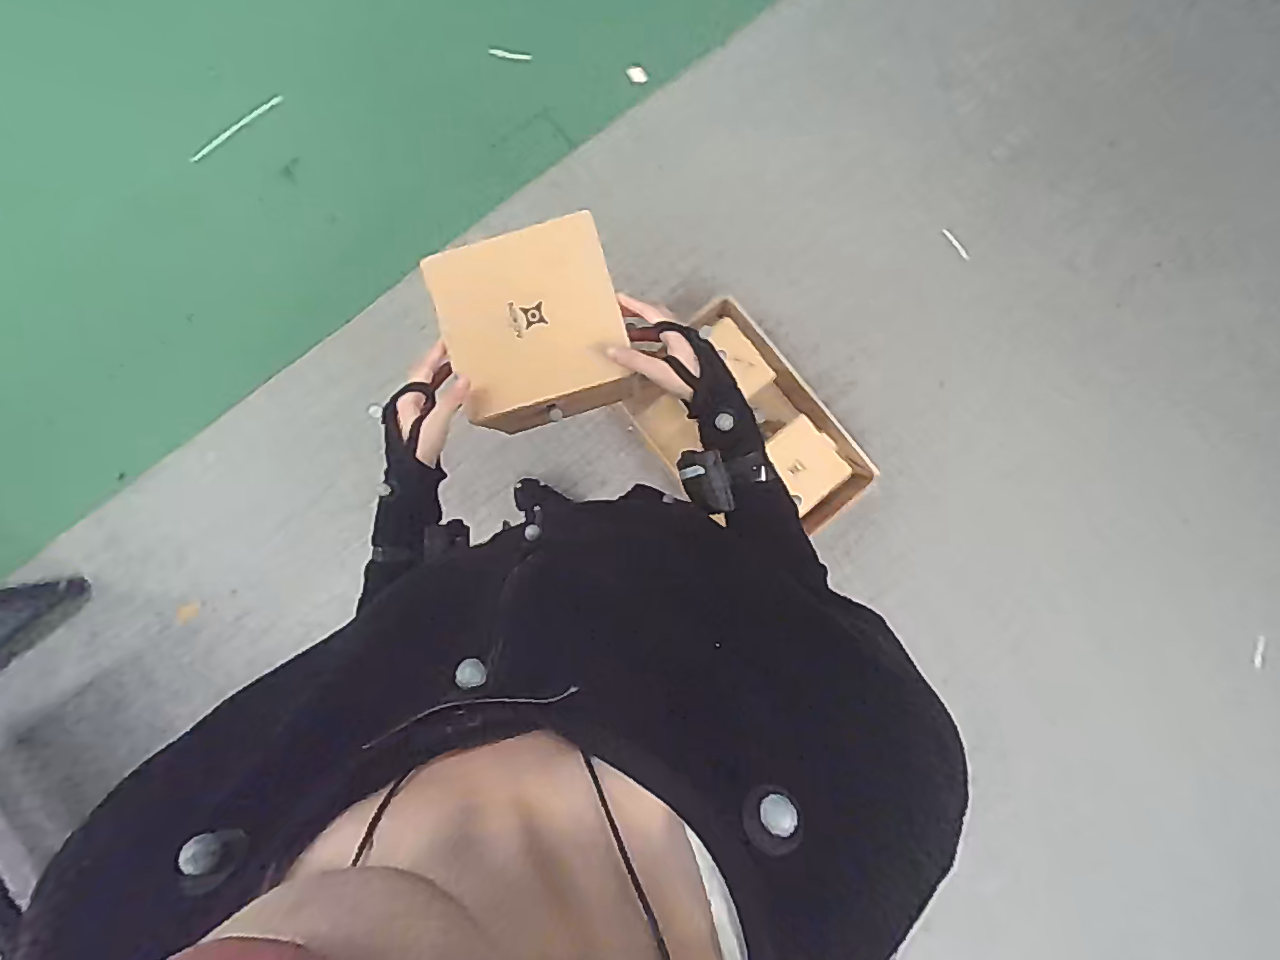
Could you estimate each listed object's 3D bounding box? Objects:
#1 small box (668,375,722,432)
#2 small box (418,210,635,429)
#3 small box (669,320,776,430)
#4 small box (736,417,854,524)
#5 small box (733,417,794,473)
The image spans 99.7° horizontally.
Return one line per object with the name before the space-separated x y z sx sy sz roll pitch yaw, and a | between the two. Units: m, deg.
small box | 0.185 -0.240 1.404 0.168 0.176 0.179 -42 90 0
small box | -0.110 -0.161 0.603 0.179 0.176 0.168 -17 91 2
small box | 0.181 -0.230 1.241 0.179 0.176 0.168 -38 90 1
small box | 0.343 -0.018 1.232 0.179 0.176 0.168 -40 88 -1
small box | 0.361 -0.035 1.395 0.168 0.176 0.179 -44 89 0
